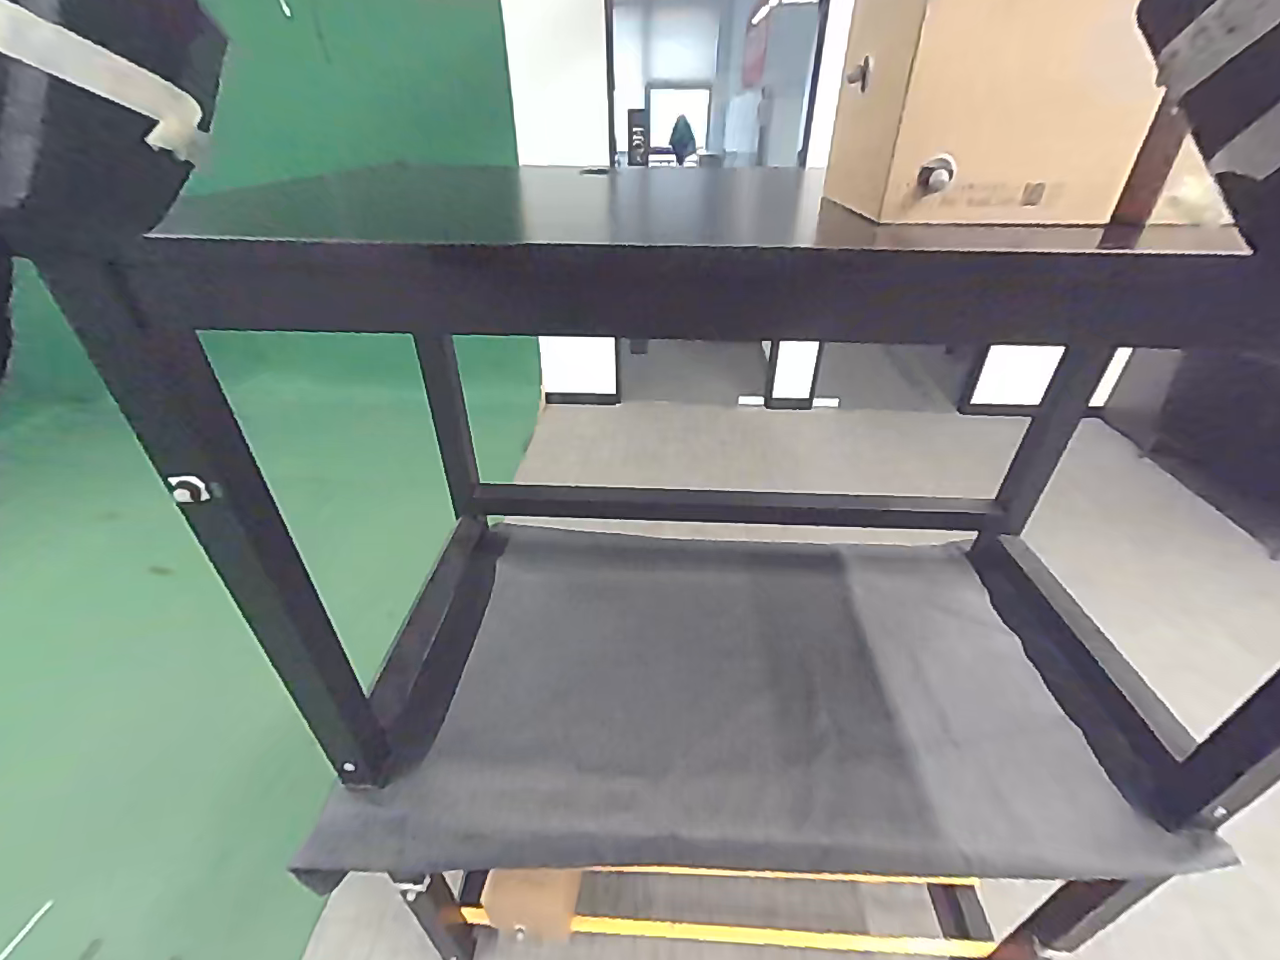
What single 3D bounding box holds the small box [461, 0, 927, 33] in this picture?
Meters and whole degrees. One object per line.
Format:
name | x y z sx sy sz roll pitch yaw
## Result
small box | 0.015 -0.264 0.163 0.168 0.176 0.179 1 51 2
